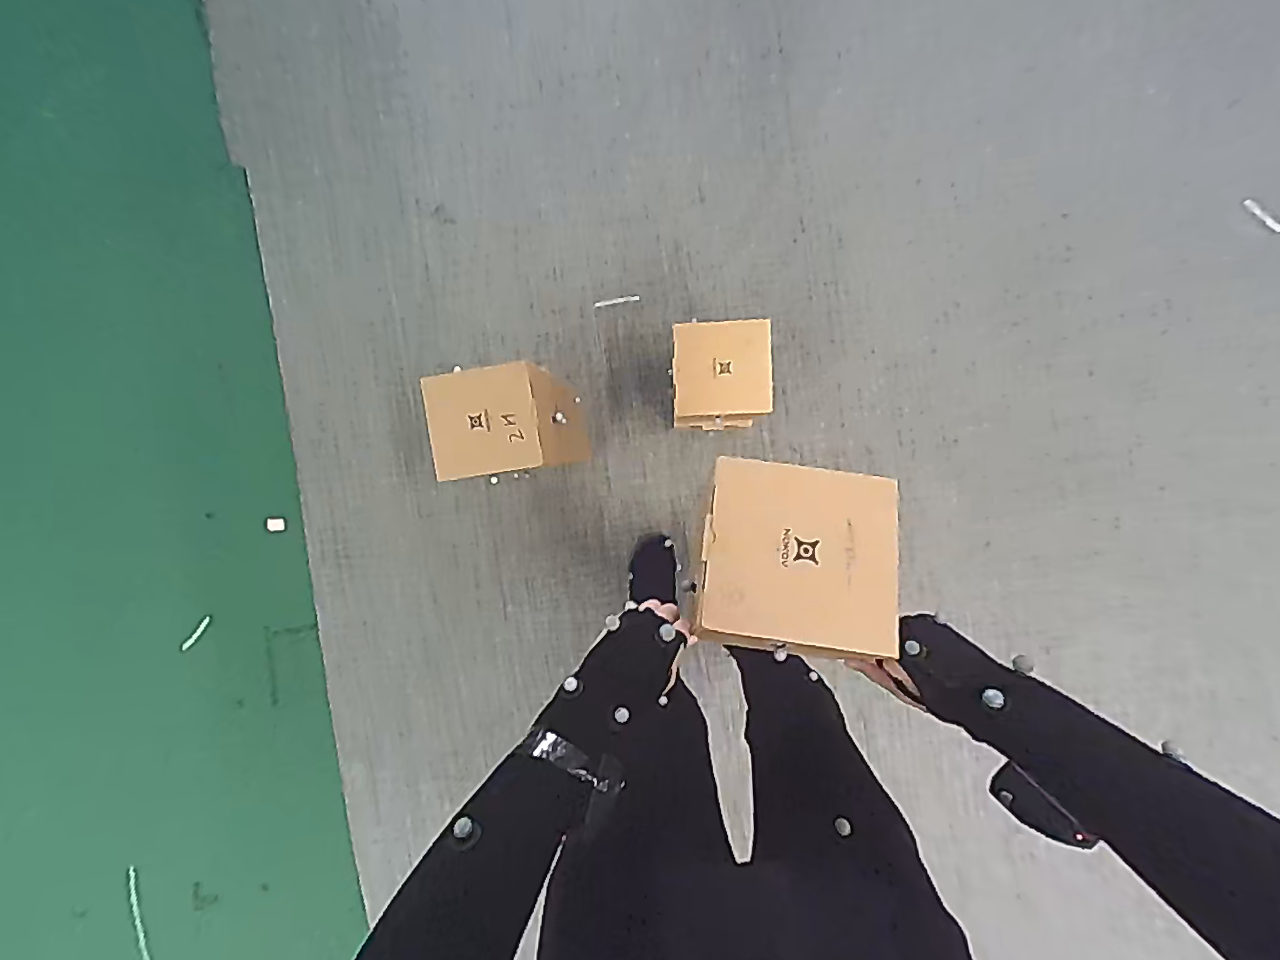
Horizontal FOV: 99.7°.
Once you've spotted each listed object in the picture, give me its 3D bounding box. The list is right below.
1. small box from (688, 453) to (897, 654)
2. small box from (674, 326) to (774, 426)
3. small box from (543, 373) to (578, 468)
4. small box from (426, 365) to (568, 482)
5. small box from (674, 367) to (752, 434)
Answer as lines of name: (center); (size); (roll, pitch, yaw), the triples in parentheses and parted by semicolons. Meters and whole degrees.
small box: (0.150, 0.088, 0.575); (0.179, 0.176, 0.168); (9, 71, 2)
small box: (0.156, -0.195, 1.048); (0.179, 0.176, 0.168); (-2, 91, 5)
small box: (-0.228, -0.103, 1.083); (0.168, 0.176, 0.179); (-9, 90, 4)
small box: (-0.233, -0.088, 0.917); (0.179, 0.176, 0.168); (-8, 91, 5)
small box: (0.161, -0.191, 1.211); (0.168, 0.176, 0.179); (0, 93, 4)
